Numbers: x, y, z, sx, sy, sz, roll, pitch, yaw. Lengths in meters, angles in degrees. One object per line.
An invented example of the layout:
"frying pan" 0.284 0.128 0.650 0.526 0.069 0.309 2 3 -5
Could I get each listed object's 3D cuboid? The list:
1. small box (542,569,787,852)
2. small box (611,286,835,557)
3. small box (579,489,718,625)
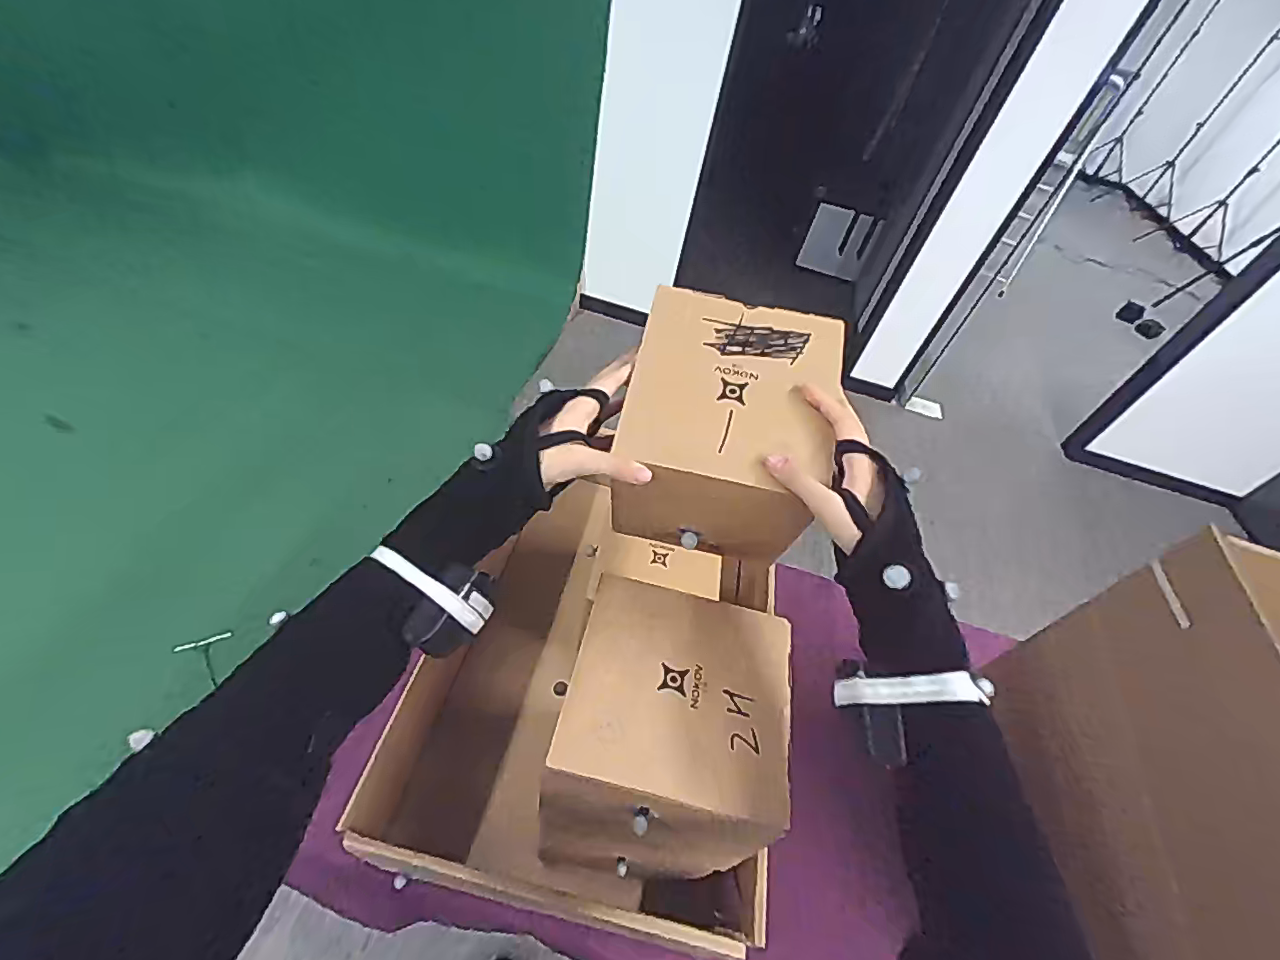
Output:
"small box" 0.018 0.210 0.485 0.179 0.176 0.168 15 47 1
"small box" 0.070 -0.046 0.511 0.168 0.176 0.179 12 66 3
"small box" 0.011 0.145 0.769 0.168 0.176 0.179 12 47 0
